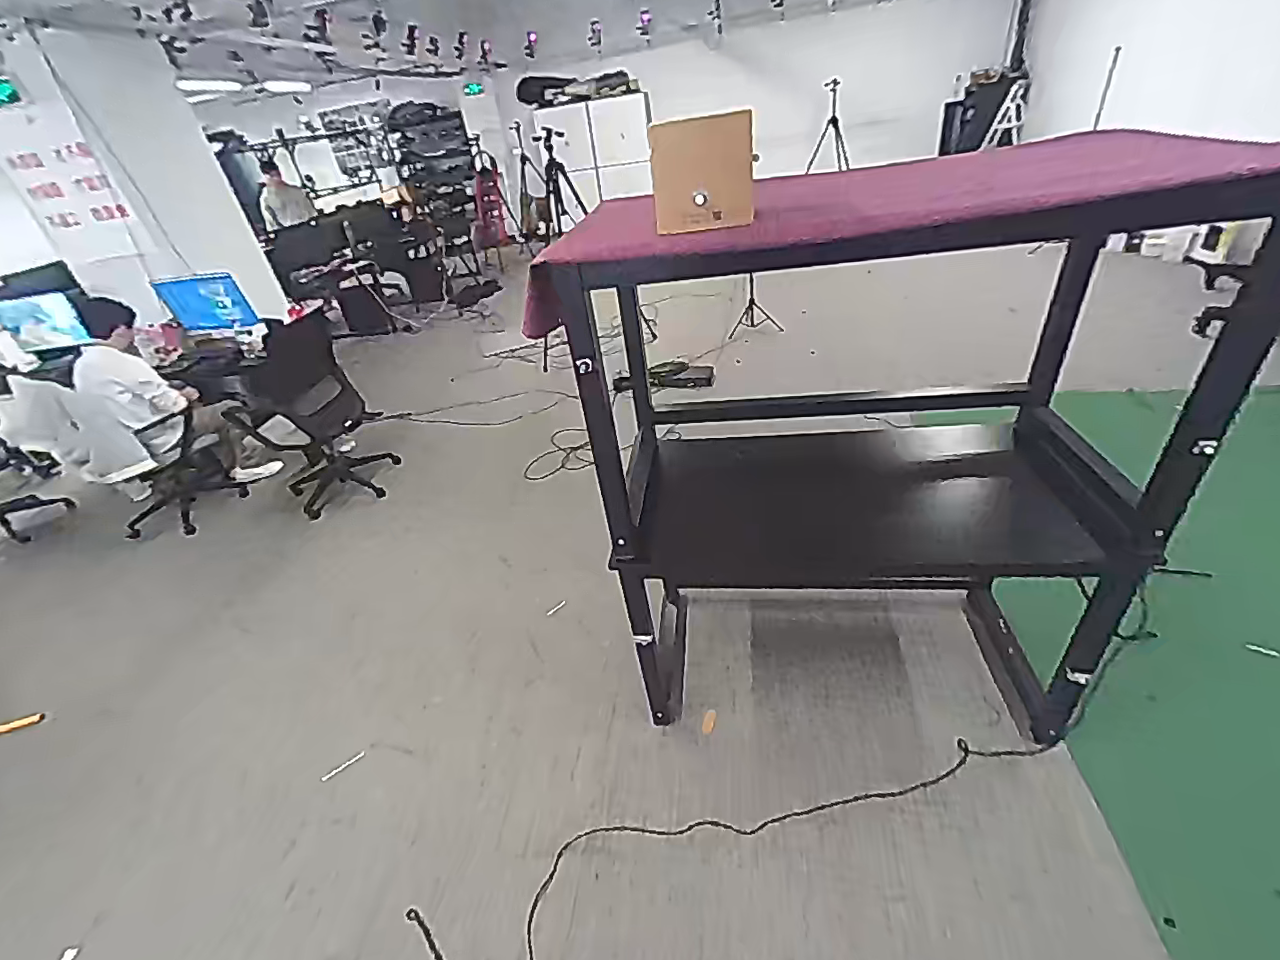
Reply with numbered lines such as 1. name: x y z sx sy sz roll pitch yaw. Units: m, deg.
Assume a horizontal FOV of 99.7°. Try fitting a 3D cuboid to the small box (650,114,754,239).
1. small box: 0.116 -0.537 0.960 0.168 0.176 0.179 -3 34 11
